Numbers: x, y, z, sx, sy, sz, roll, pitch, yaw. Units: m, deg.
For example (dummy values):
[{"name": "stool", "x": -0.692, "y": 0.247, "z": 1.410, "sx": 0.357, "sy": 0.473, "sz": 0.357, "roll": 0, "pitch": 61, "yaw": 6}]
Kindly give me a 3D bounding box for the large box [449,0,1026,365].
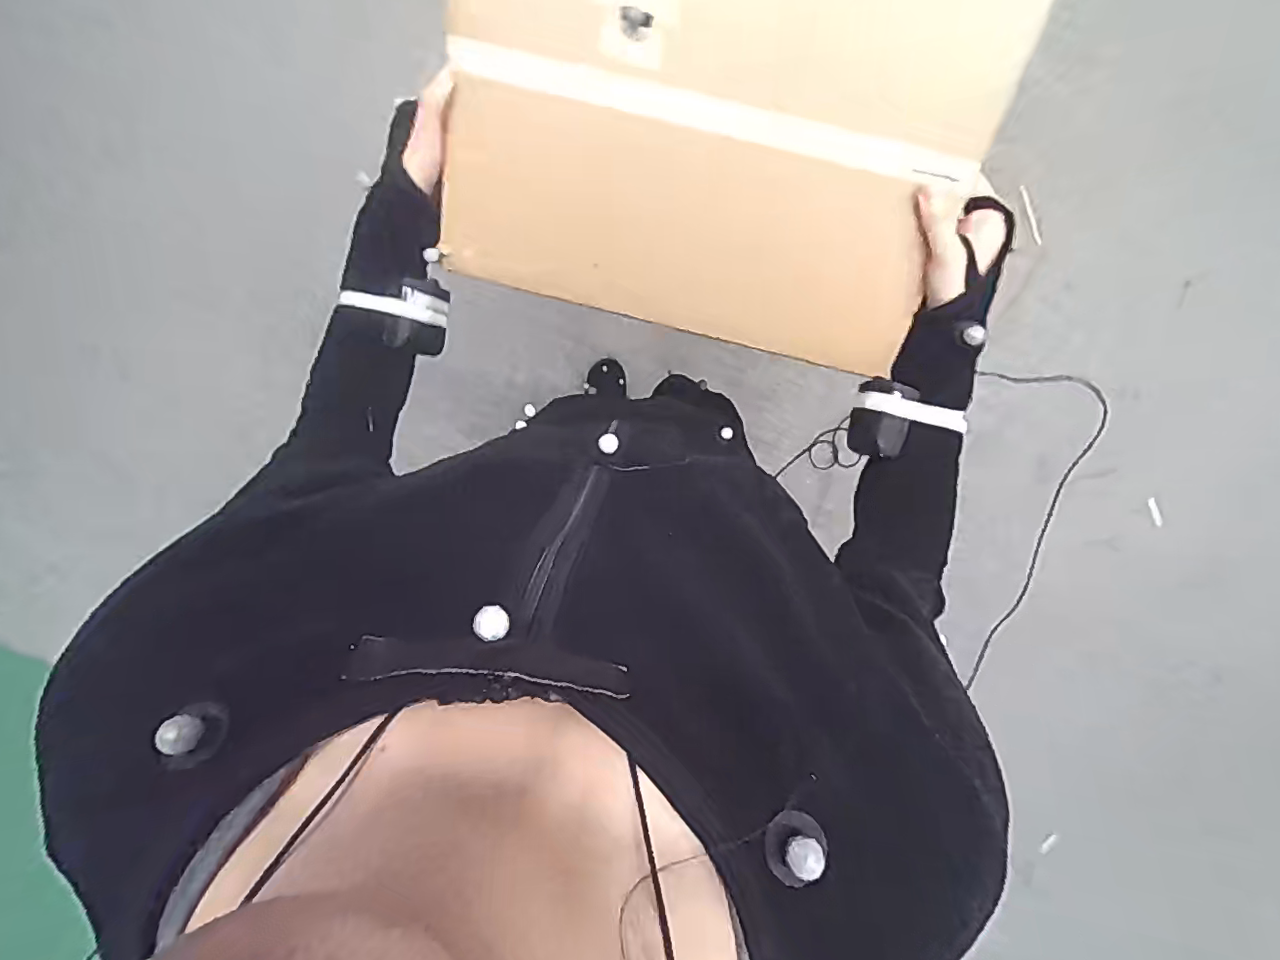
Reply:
[{"name": "large box", "x": 0.069, "y": -0.347, "z": 0.554, "sx": 0.408, "sy": 0.320, "sz": 0.320, "roll": 15, "pitch": 117, "yaw": 0}]
